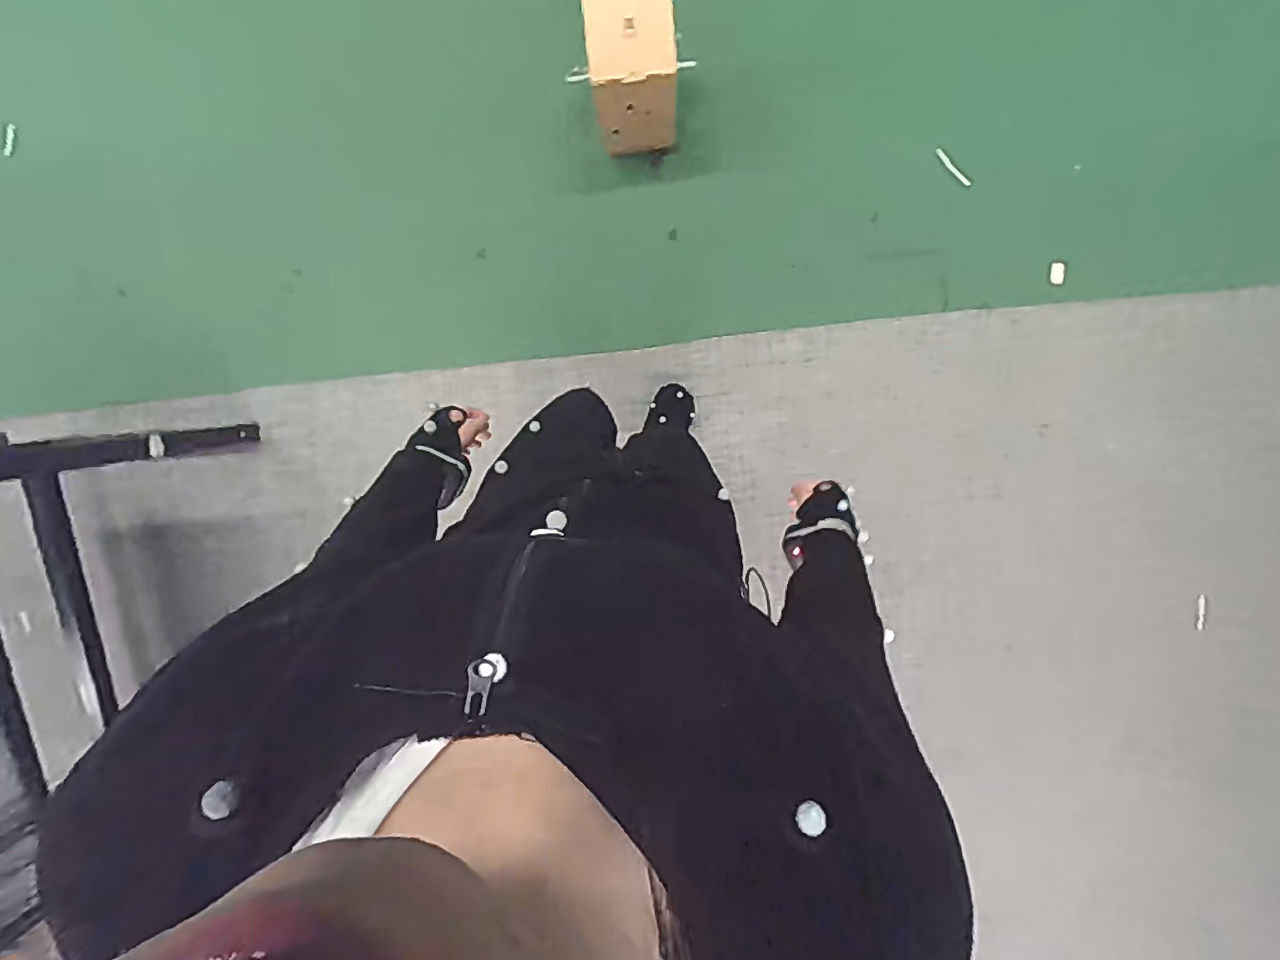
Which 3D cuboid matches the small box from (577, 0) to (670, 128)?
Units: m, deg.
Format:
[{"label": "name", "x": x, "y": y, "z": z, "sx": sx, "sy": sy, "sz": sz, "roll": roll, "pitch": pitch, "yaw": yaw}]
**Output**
[{"label": "small box", "x": -0.032, "y": -0.844, "z": 1.083, "sx": 0.168, "sy": 0.176, "sz": 0.179, "roll": -6, "pitch": 100, "yaw": 1}]
